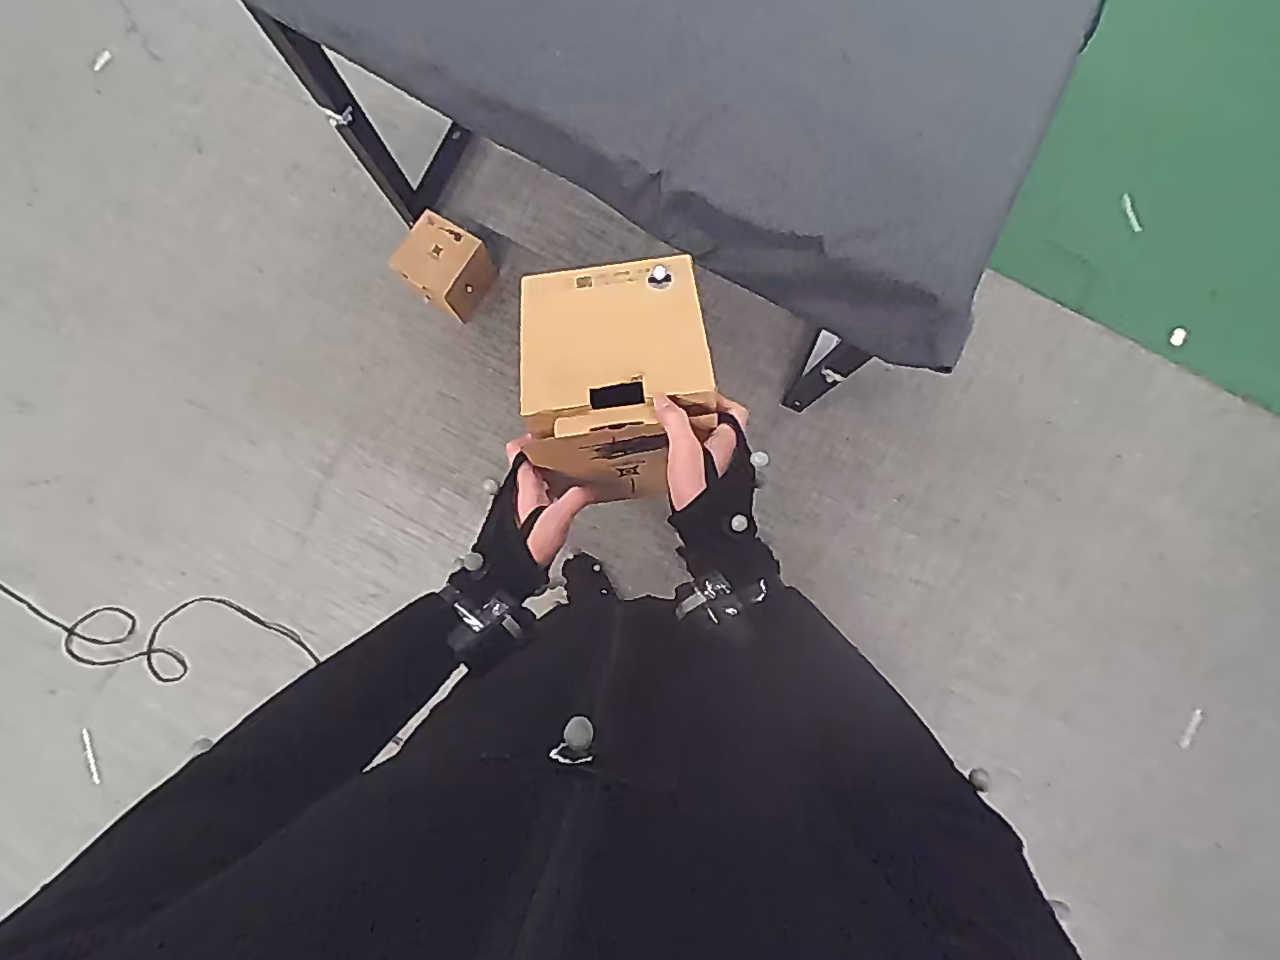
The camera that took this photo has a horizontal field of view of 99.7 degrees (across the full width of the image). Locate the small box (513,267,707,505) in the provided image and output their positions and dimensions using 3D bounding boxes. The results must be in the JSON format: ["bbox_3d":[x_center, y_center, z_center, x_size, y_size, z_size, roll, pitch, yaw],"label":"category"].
[{"bbox_3d":[-0.025,-0.095,0.552,0.168,0.179,0.176,-7,61,3],"label":"small box"}]
